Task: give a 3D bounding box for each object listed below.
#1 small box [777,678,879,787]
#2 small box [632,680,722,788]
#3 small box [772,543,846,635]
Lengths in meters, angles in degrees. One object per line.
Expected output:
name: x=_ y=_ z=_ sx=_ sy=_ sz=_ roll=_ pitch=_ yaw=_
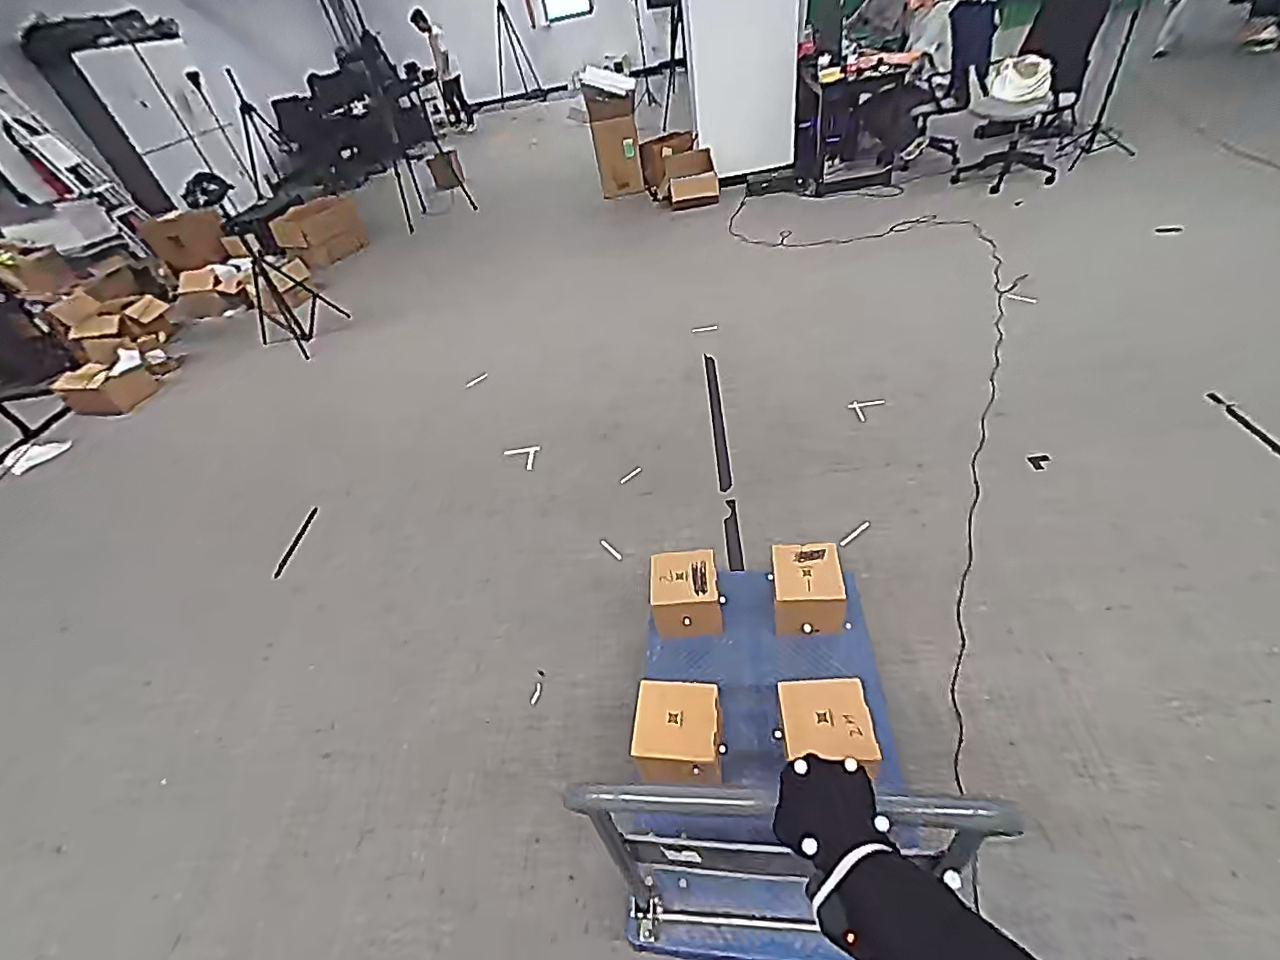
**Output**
small box: x=0.396 y=0.545 z=1.160 sx=0.179 sy=0.176 sz=0.168 roll=-6 pitch=43 yaw=9
small box: x=0.091 y=0.570 z=1.213 sx=0.179 sy=0.176 sz=0.168 roll=-1 pitch=43 yaw=11
small box: x=0.437 y=0.287 z=1.428 sx=0.168 sy=0.176 sz=0.179 roll=-4 pitch=44 yaw=11
